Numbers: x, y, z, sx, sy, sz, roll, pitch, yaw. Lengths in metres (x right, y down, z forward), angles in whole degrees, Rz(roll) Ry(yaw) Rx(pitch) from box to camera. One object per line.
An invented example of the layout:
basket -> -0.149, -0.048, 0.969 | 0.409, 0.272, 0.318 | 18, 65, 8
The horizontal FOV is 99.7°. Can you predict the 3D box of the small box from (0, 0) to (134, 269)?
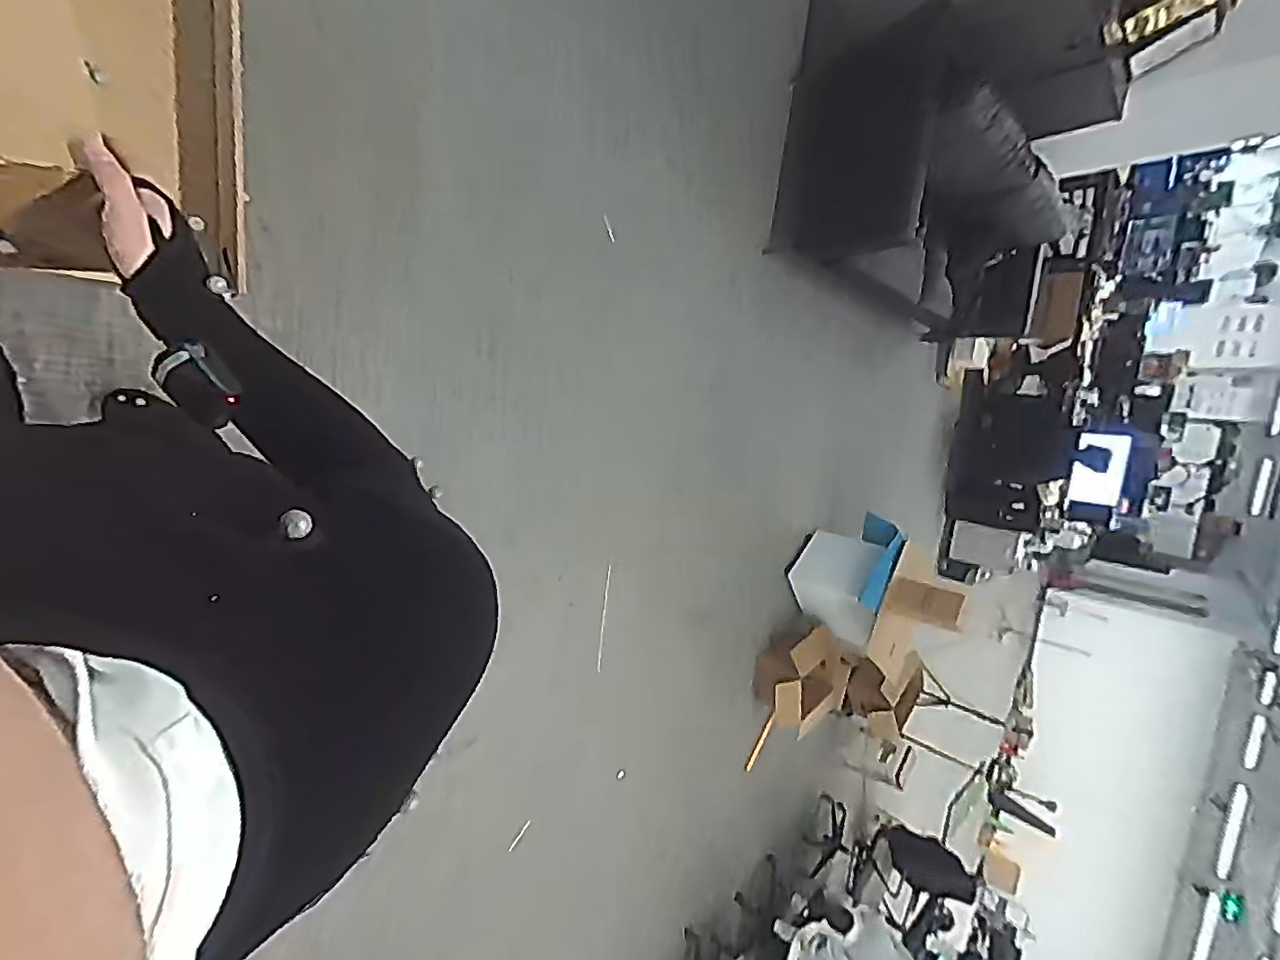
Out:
small box -> -0.570, -0.310, 0.466 | 0.168, 0.176, 0.179 | -14, 87, -40
